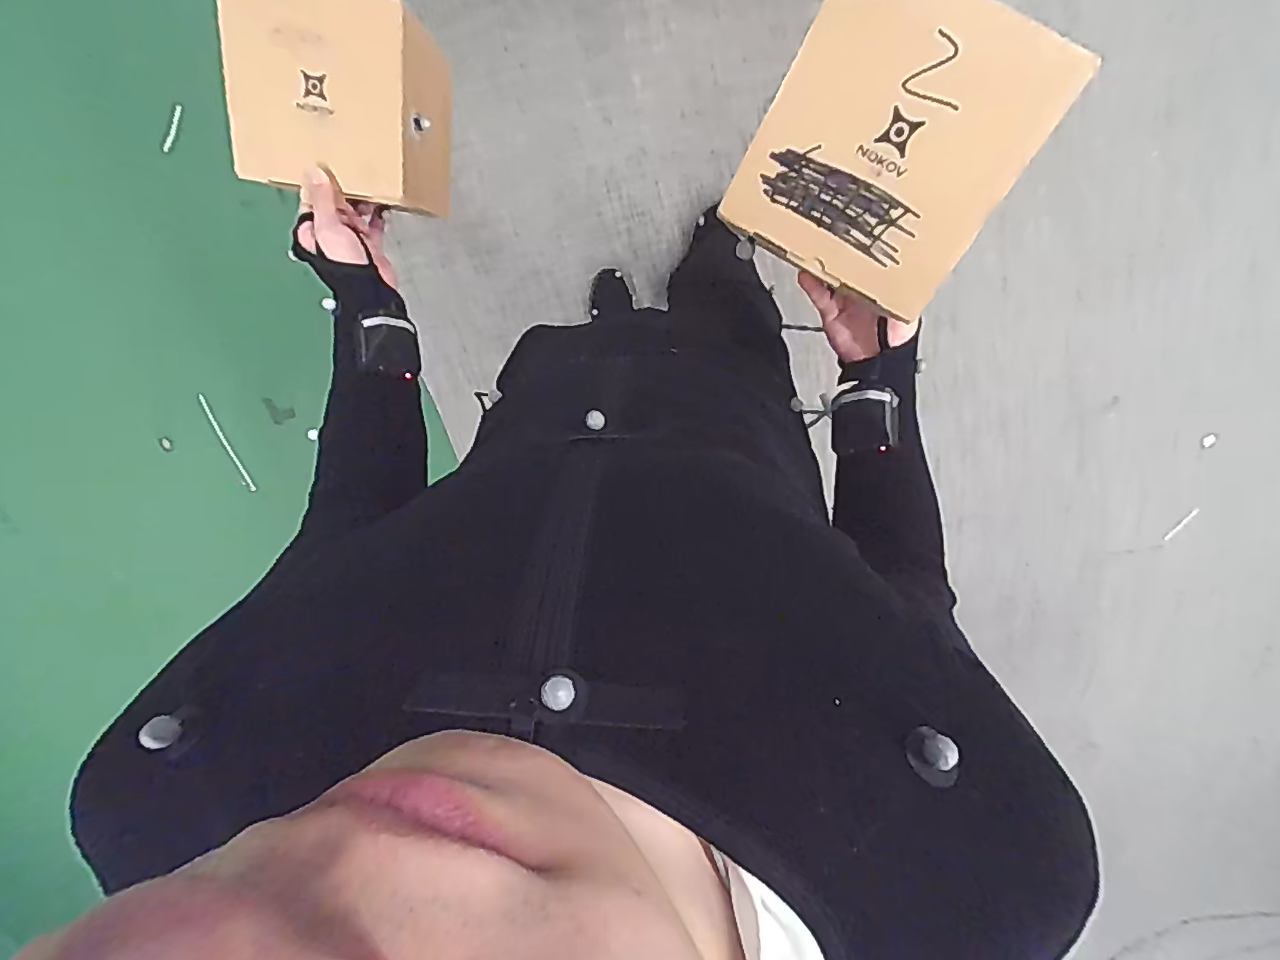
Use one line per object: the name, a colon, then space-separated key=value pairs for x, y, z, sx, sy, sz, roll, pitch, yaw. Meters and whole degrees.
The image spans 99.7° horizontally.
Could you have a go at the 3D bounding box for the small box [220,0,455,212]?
small box: x=-0.310 y=-0.405 z=0.589 sx=0.168 sy=0.176 sz=0.179 roll=8 pitch=109 yaw=-4
